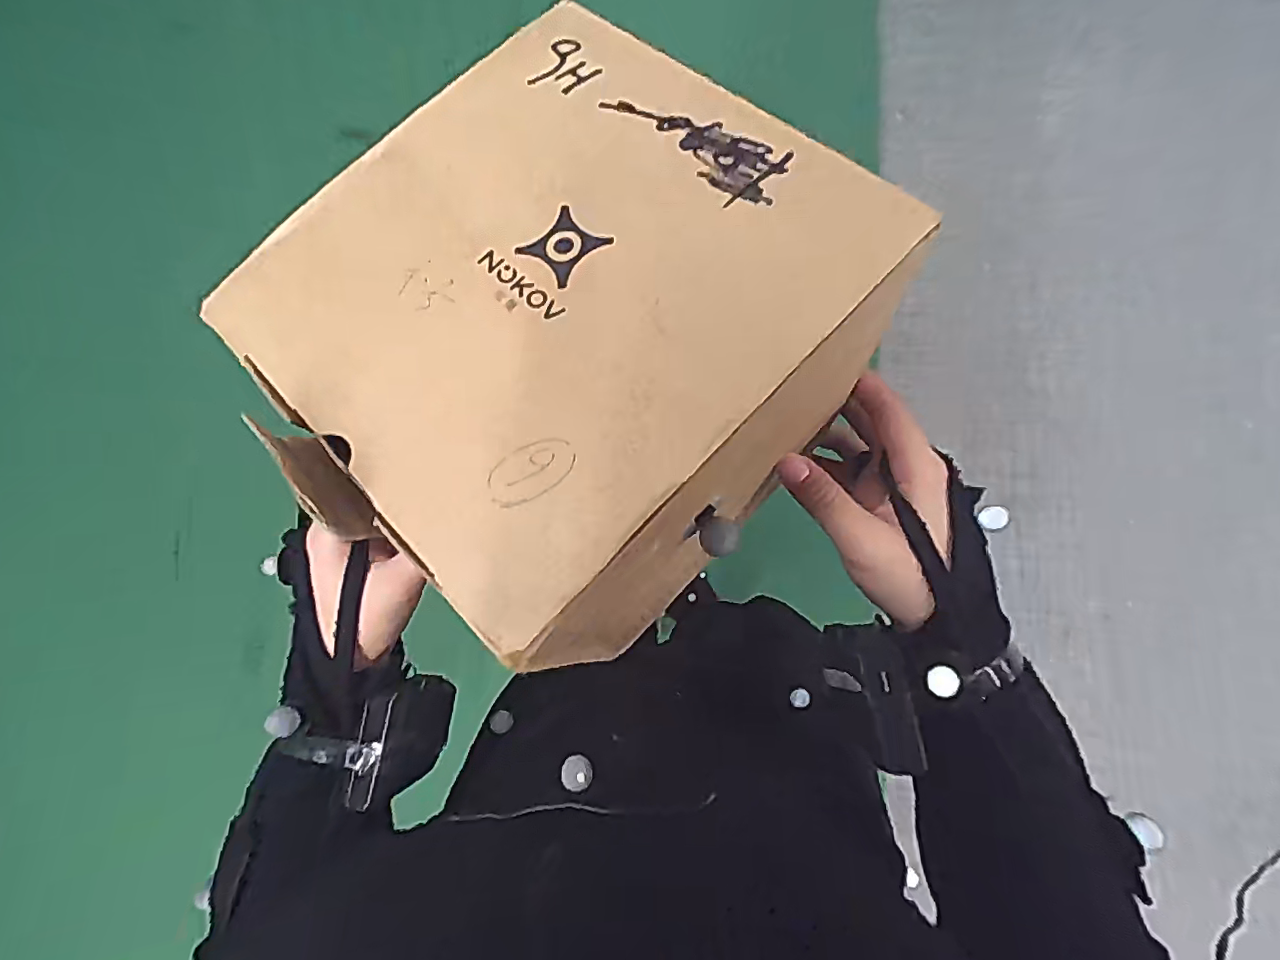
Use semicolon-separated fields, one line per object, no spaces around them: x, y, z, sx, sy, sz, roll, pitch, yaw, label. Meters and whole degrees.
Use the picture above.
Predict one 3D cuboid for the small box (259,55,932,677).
-0.013;-0.033;0.257;0.168;0.176;0.179;43;82;16;small box
